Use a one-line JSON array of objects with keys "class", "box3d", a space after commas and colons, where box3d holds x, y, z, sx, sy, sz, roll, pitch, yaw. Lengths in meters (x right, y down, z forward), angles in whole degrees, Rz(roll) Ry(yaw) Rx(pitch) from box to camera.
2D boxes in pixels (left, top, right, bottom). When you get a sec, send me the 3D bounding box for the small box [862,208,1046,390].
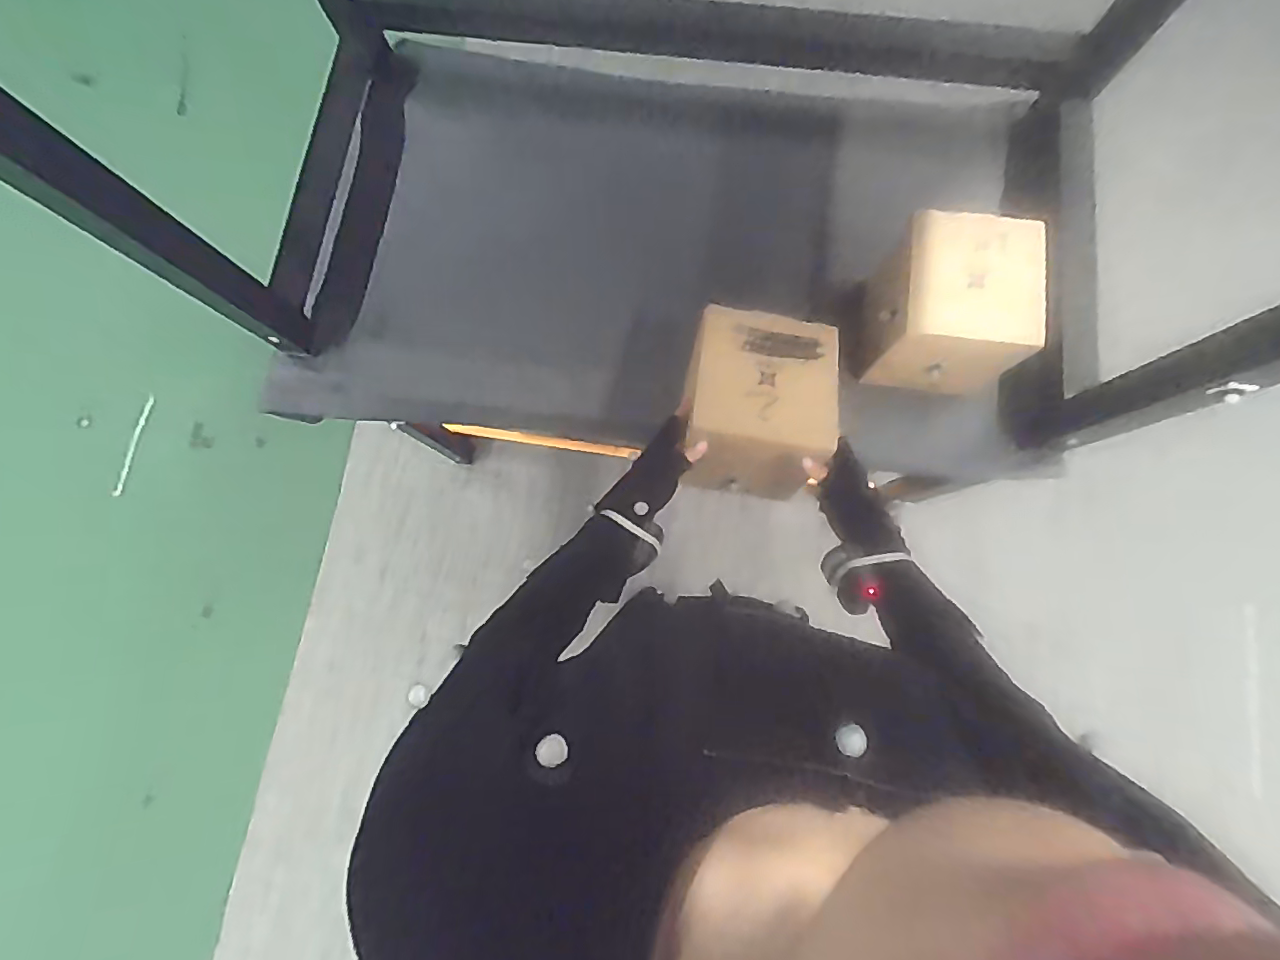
[{"class": "small box", "box3d": [0.423, -0.240, 0.753, 0.168, 0.176, 0.179, 8, 78, 3]}]
